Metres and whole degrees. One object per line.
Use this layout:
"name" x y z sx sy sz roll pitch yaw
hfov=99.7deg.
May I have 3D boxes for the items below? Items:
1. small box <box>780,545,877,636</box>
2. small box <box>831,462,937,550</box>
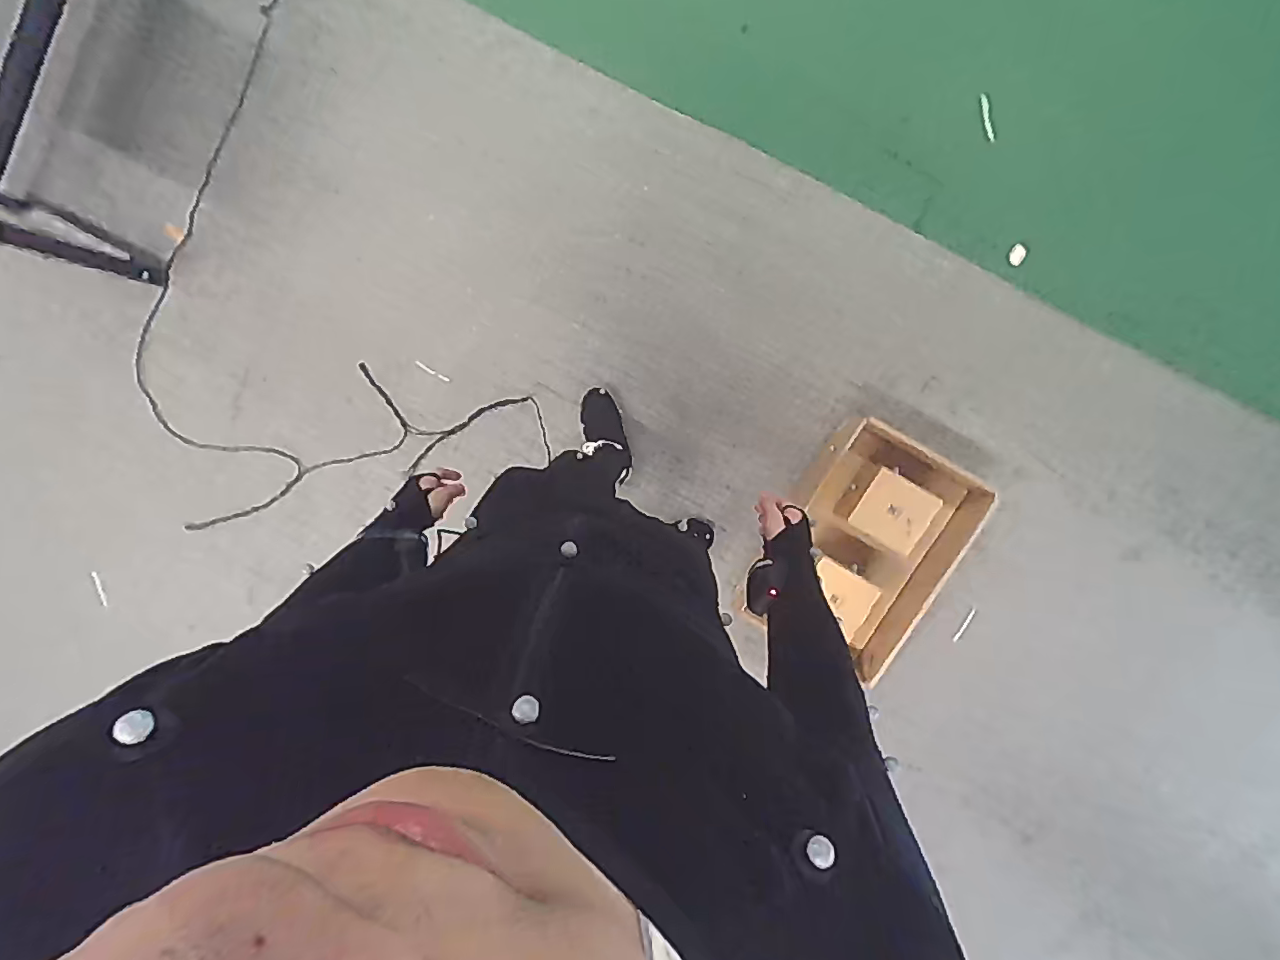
"small box" 0.504 0.292 1.477 0.179 0.176 0.168 30 96 2
"small box" 0.639 0.062 1.443 0.179 0.176 0.168 31 98 3
